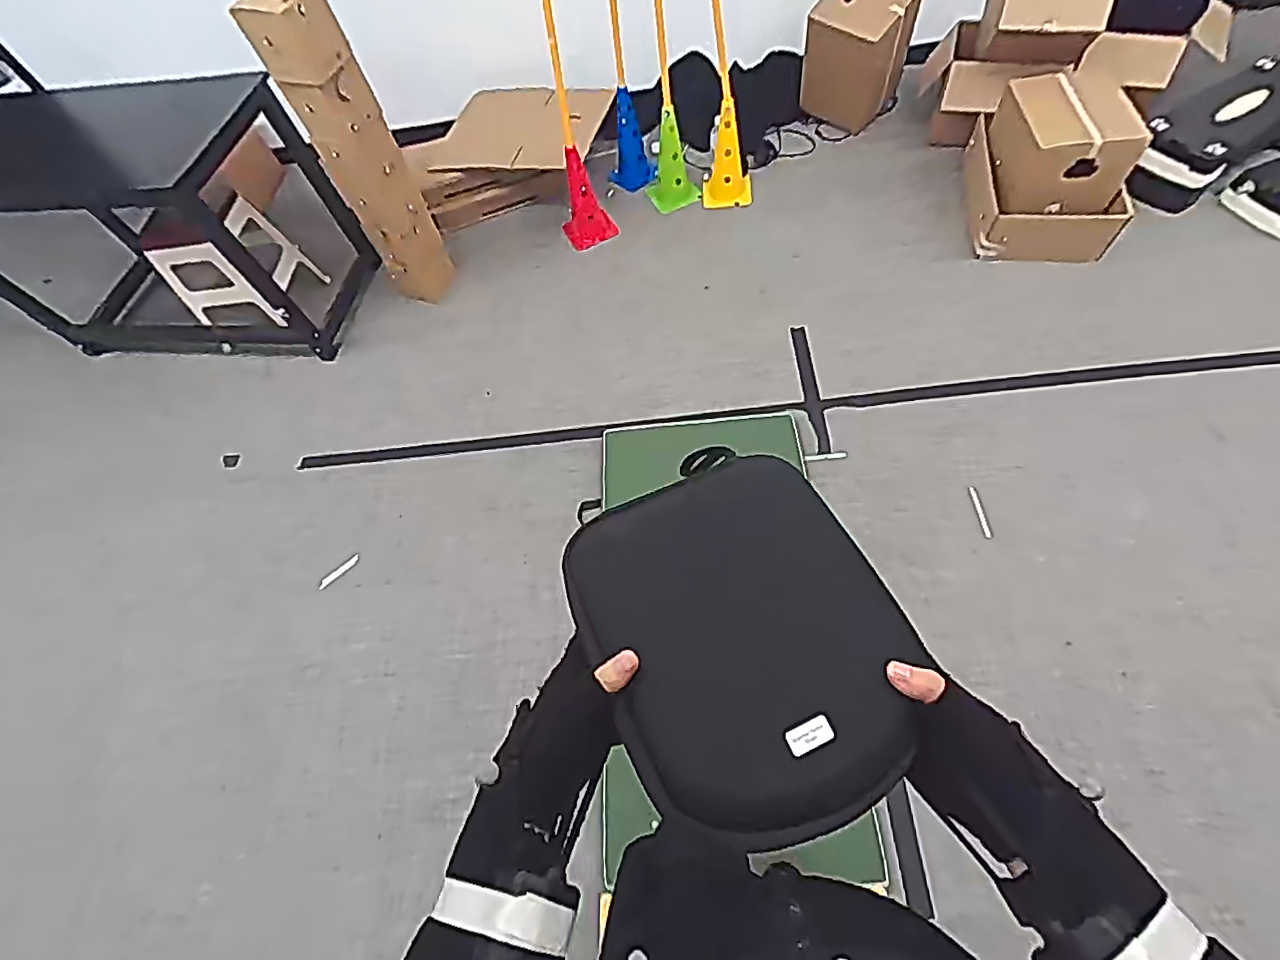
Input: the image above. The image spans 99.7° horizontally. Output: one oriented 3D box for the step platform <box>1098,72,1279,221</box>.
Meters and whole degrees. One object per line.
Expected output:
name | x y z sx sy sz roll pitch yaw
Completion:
step platform | 2.075 -1.225 1.976 0.684 0.204 0.286 -31 62 -9
